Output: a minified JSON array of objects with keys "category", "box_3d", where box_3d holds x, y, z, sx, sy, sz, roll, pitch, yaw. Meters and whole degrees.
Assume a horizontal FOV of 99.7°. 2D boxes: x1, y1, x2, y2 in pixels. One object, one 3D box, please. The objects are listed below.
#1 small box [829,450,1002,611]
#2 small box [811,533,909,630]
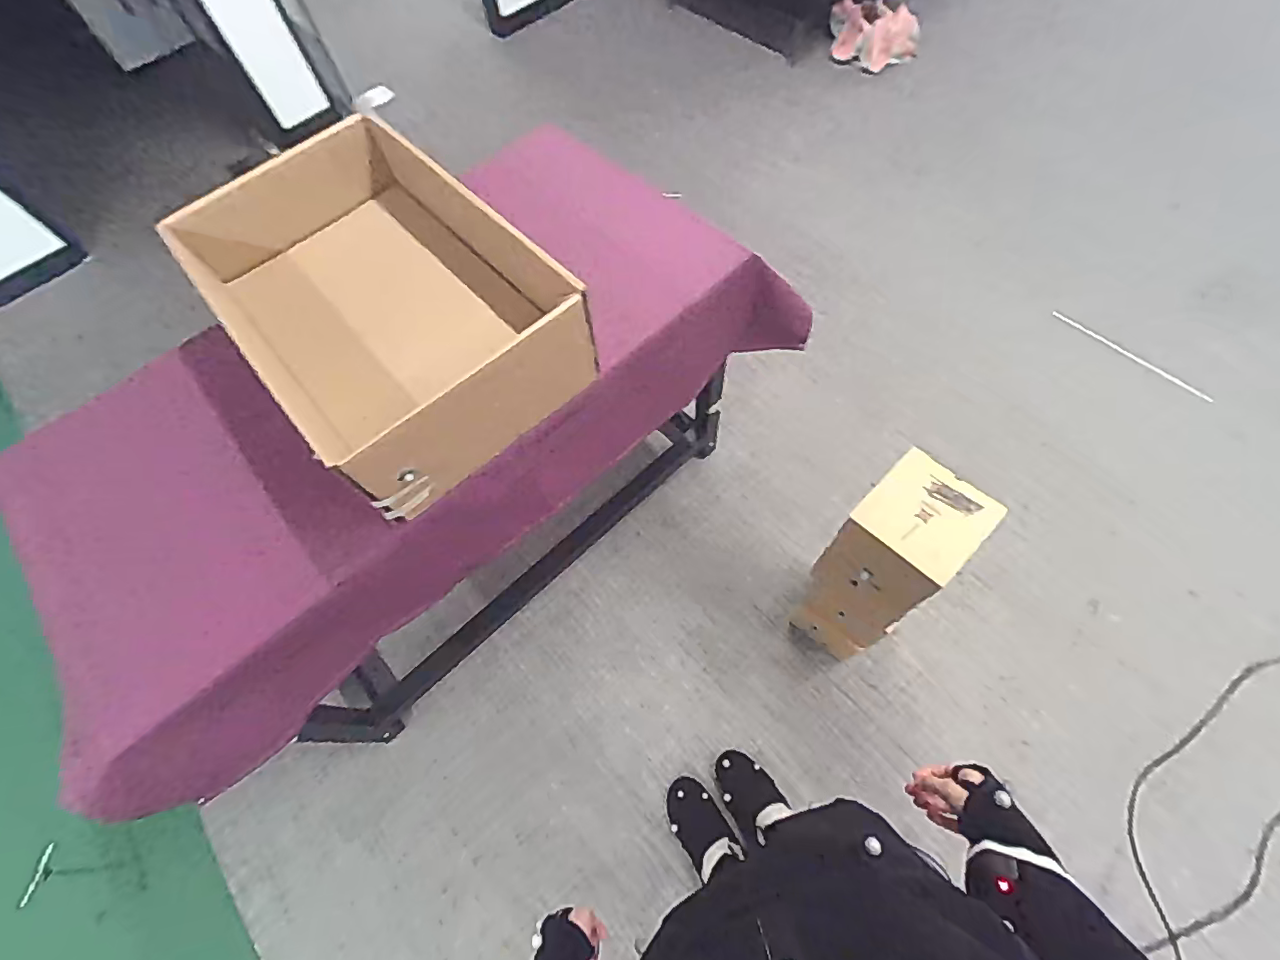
[{"category":"small box","box_3d":[0.442,0.089,0.900,0.179,0.176,0.168,-42,67,-14]},{"category":"small box","box_3d":[0.458,0.164,1.046,0.168,0.176,0.179,-40,66,-14]}]
